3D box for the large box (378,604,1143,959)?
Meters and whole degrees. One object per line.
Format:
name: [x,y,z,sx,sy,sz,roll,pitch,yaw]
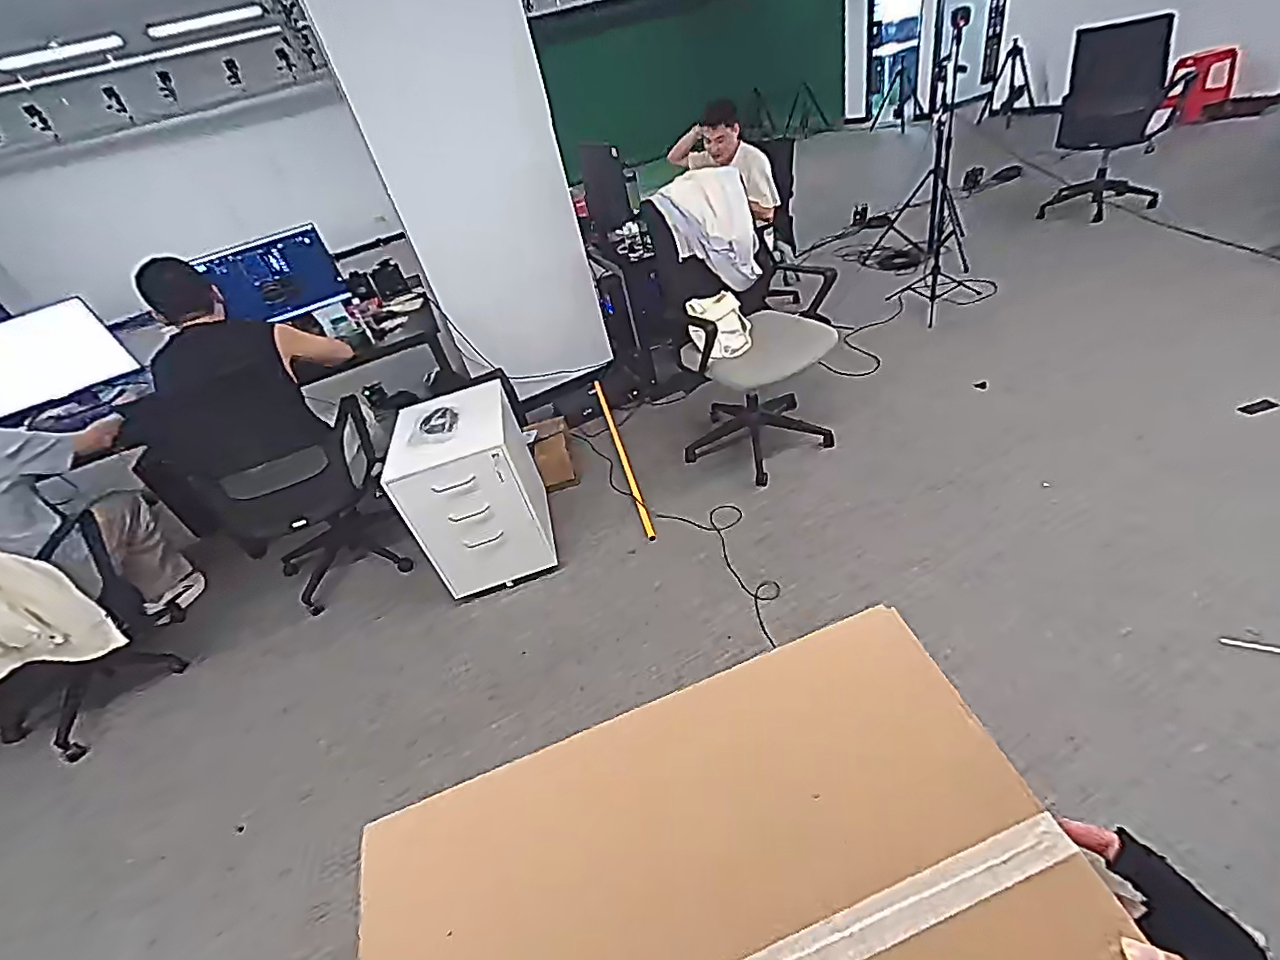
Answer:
large box: [0.078,0.362,0.411,0.408,0.320,0.320,-22,48,-4]
